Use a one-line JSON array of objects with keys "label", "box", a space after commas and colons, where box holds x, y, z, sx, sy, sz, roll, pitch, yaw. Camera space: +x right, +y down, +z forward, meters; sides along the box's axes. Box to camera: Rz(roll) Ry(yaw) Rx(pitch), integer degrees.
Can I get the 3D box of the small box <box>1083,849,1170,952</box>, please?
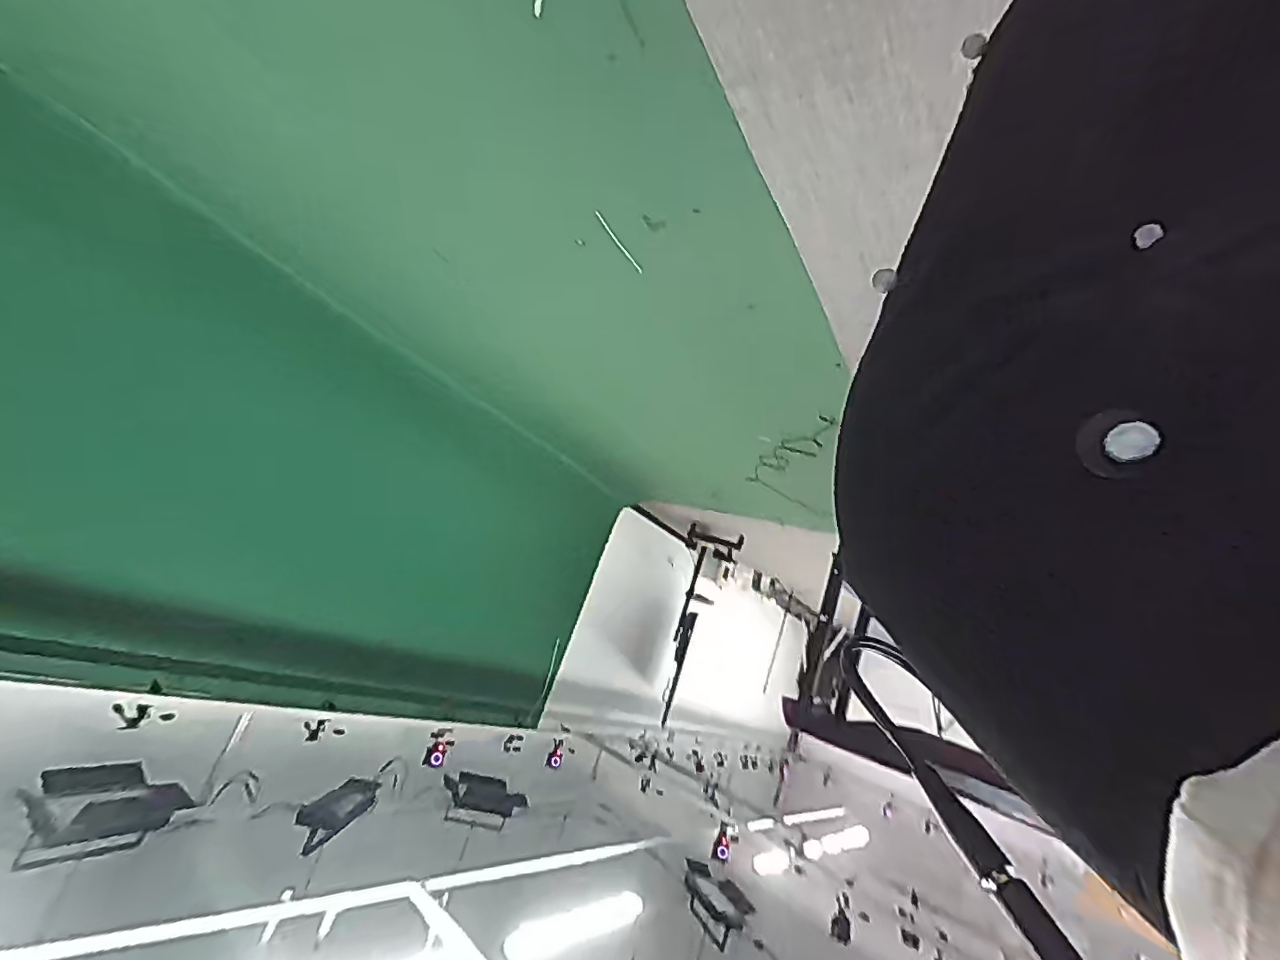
[{"label": "small box", "box": [1.442, 1.238, 1.606, 0.179, 0.176, 0.168, 9, 161, 40]}]
